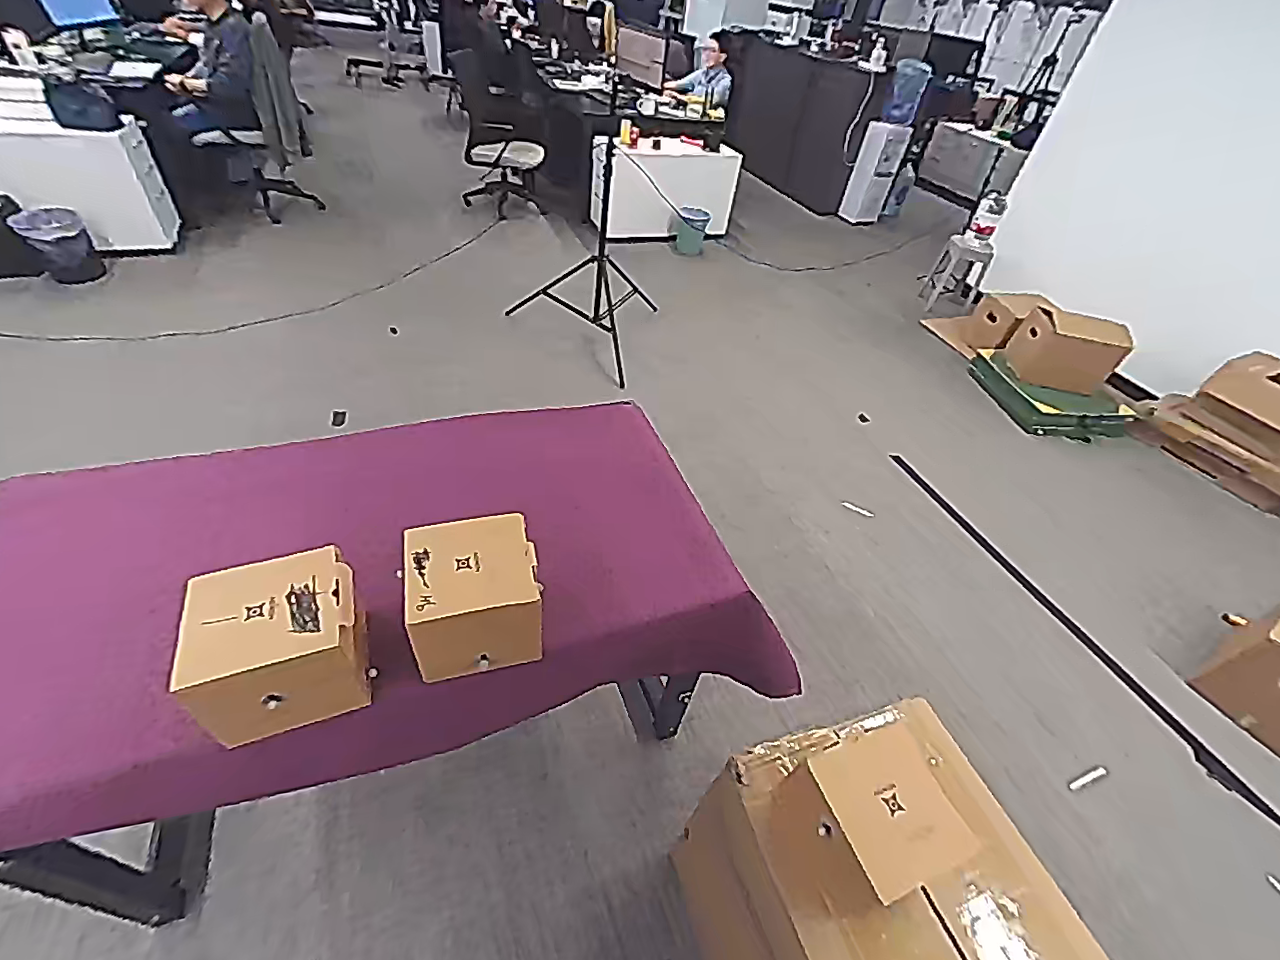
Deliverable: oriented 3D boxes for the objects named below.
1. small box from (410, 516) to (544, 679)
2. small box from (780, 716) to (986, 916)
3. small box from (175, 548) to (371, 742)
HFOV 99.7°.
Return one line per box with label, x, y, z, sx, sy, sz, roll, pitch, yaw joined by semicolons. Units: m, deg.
small box;-0.248;0.179;0.827;0.179;0.176;0.168;-7;45;-17
small box;0.324;0.474;0.766;0.168;0.176;0.179;-13;49;-18
small box;-0.479;0.223;0.738;0.179;0.176;0.168;-12;46;-20
